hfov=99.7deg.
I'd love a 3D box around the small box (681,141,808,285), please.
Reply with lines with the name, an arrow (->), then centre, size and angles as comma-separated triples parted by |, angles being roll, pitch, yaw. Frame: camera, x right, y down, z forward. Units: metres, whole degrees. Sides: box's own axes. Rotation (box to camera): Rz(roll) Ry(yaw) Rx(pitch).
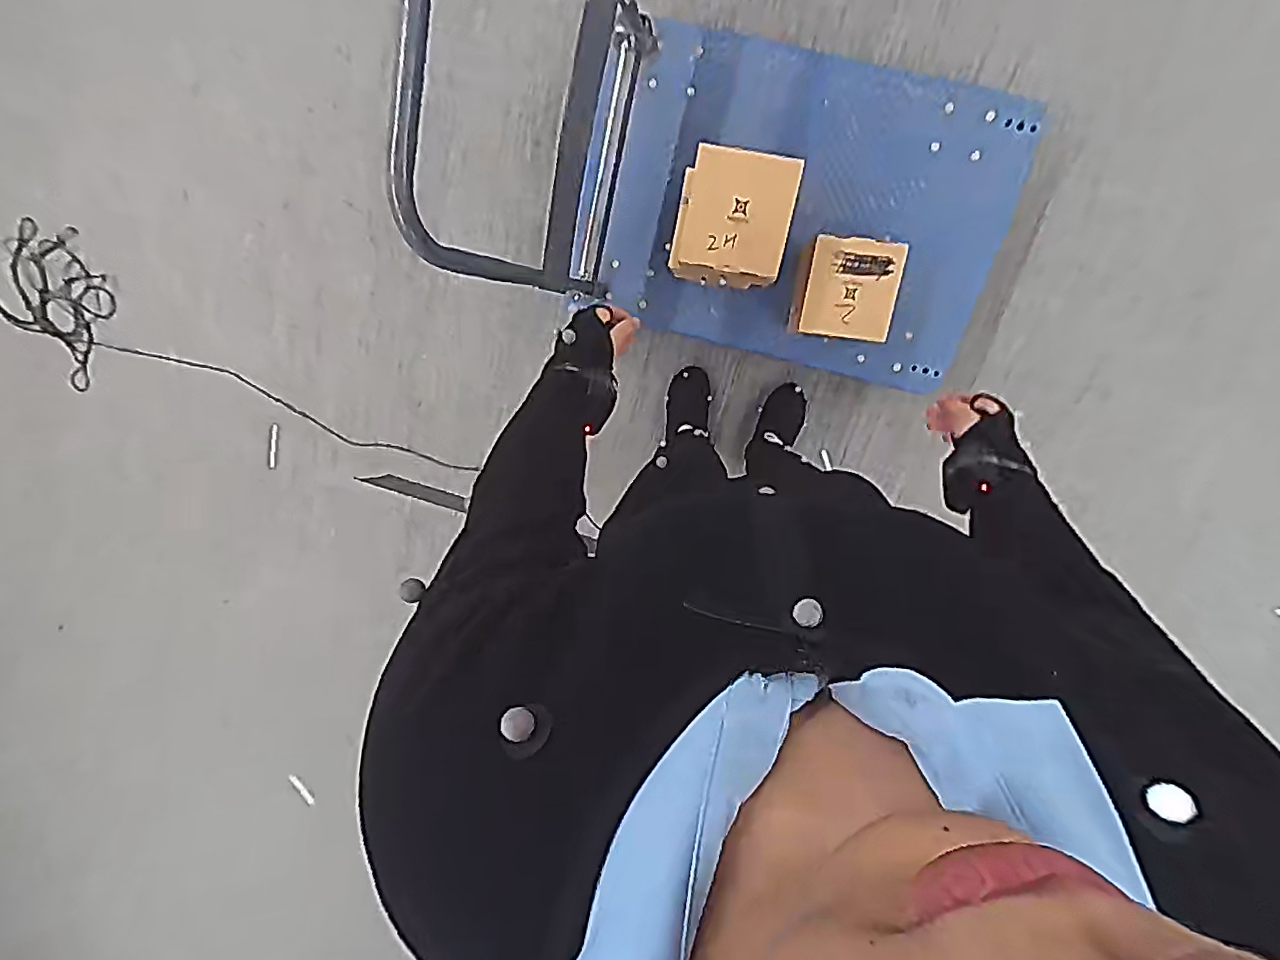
small box -> 0.168, -0.441, 0.919 | 0.168, 0.176, 0.179 | 12, 108, 4

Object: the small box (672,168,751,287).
small box -> 0.161, -0.493, 1.078 | 0.168, 0.176, 0.179 | 11, 107, 3
